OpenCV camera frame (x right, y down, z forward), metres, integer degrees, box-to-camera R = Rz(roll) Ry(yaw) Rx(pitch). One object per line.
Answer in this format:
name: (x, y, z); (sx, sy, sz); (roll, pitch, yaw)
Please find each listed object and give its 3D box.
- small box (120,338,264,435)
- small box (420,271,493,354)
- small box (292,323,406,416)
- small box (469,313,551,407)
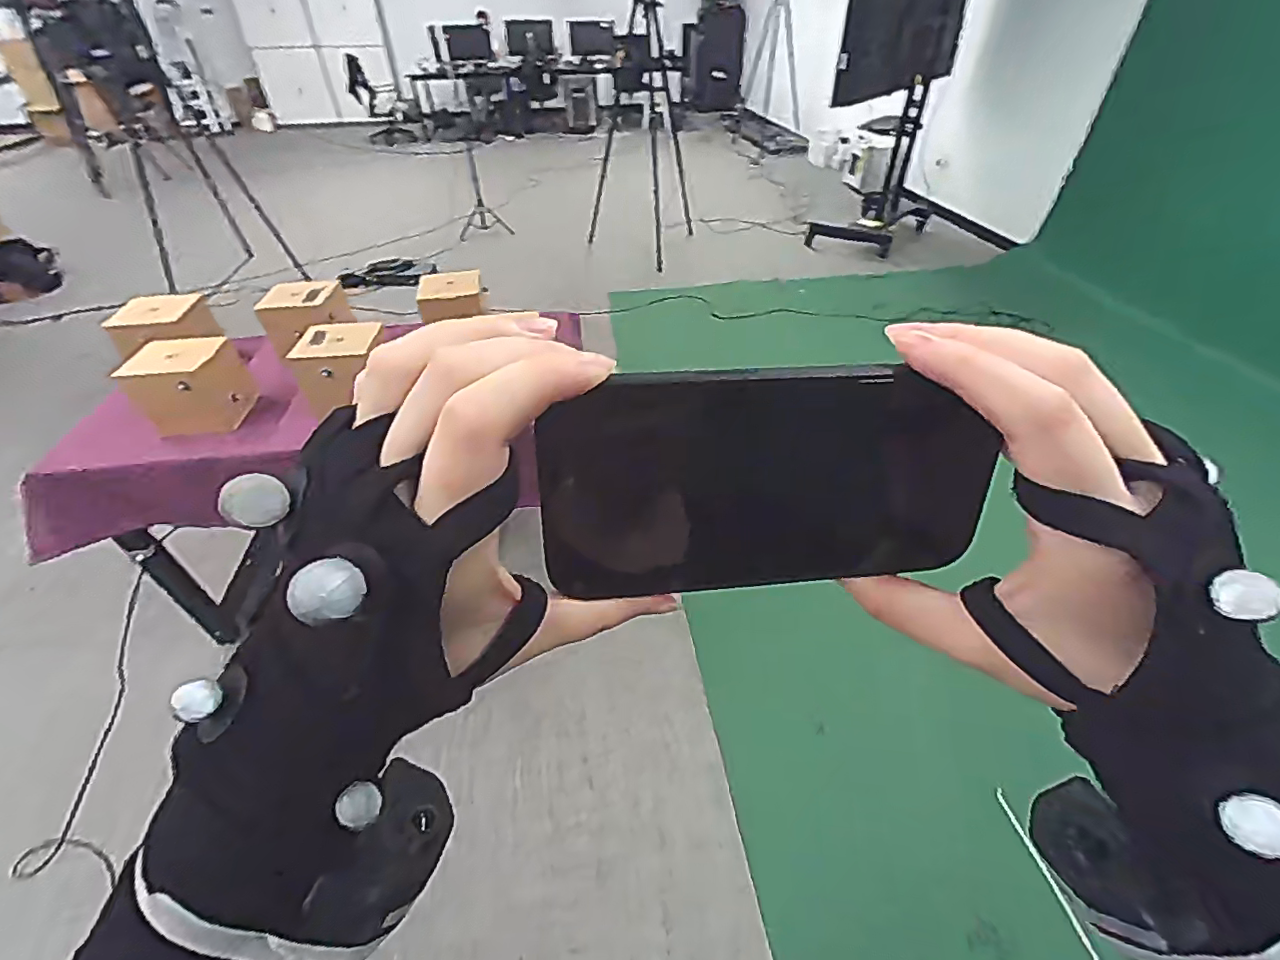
small box: (-1.053, -0.221, 1.290); (0.179, 0.176, 0.168); (-5, 42, -5)
small box: (-0.520, -0.485, 1.564); (0.168, 0.176, 0.179); (-8, 43, -7)
small box: (-0.706, -0.270, 1.334); (0.179, 0.176, 0.168); (-3, 42, -4)
small box: (-0.317, -0.300, 1.354); (0.179, 0.176, 0.168); (-7, 42, -6)
